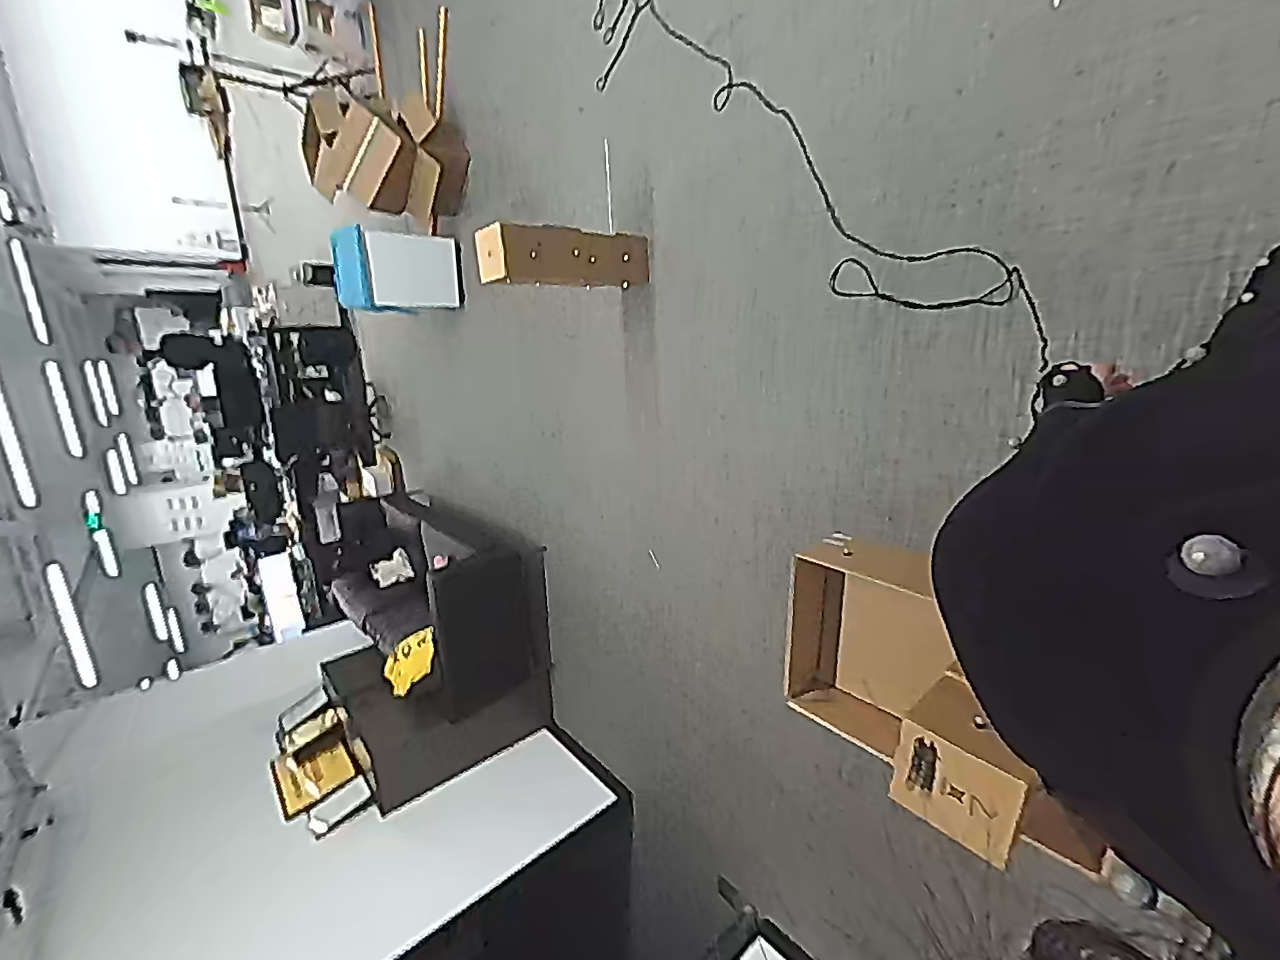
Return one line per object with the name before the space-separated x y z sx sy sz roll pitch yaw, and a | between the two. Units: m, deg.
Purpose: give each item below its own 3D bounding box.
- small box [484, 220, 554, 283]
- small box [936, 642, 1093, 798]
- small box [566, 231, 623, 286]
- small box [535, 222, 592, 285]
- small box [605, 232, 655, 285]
small box | -0.414 -0.777 1.854 0.179 0.176 0.168 10 109 48
small box | 0.671 0.415 0.974 0.179 0.176 0.168 18 114 47
small box | -0.177 -0.843 2.070 0.168 0.176 0.179 13 111 47
small box | -0.291 -0.814 1.957 0.168 0.176 0.179 11 109 49
small box | -0.052 -0.884 2.169 0.168 0.176 0.179 13 110 48
